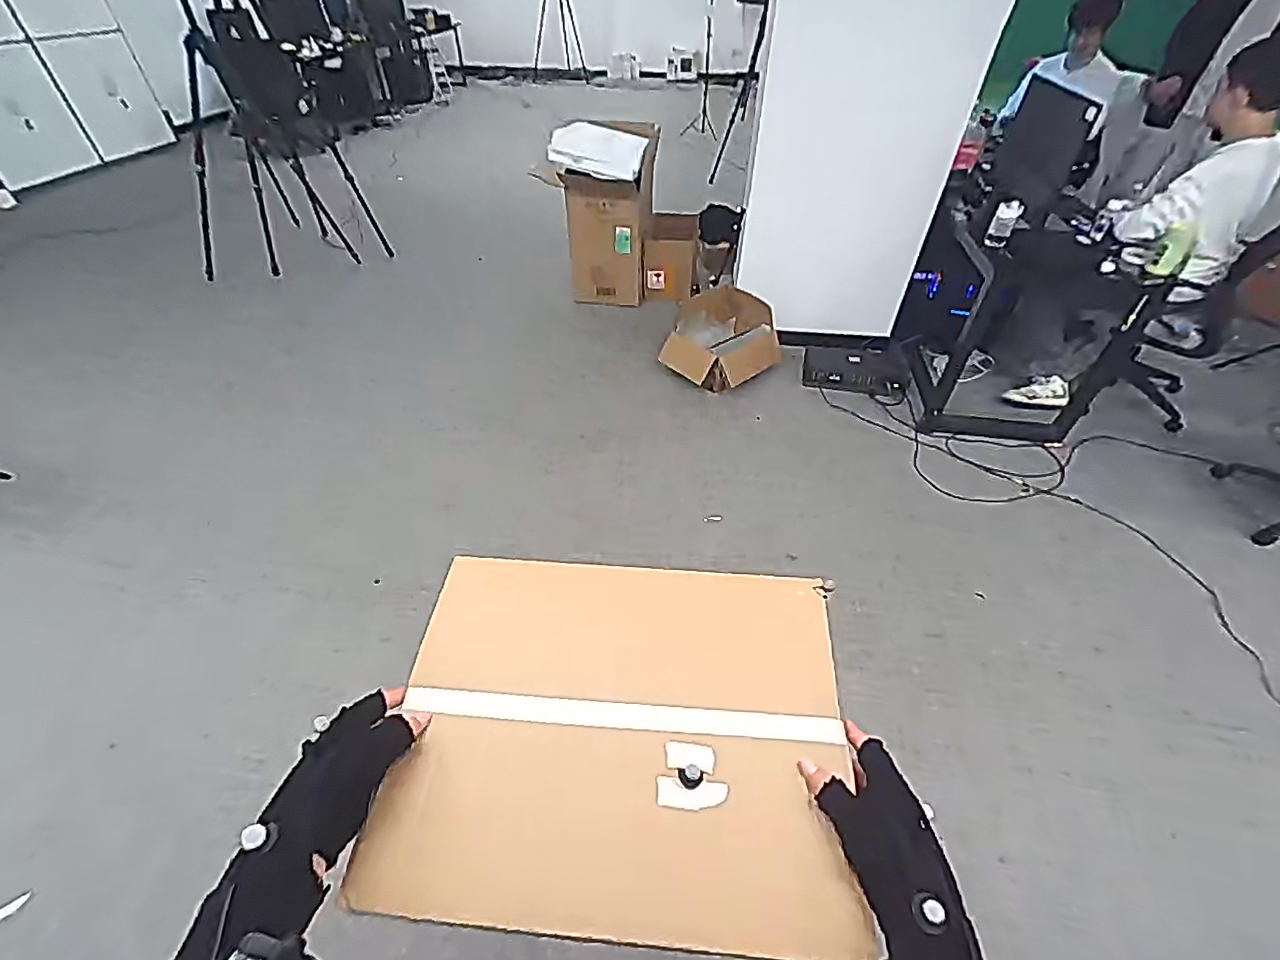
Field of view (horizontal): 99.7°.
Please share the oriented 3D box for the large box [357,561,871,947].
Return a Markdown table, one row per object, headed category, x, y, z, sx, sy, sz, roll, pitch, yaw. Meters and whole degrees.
| category | x | y | z | sx | sy | sz | roll | pitch | yaw |
| --- | --- | --- | --- | --- | --- | --- | --- | --- | --- |
| large box | -0.015 | 0.313 | 0.617 | 0.408 | 0.320 | 0.320 | 3 | 51 | 3 |
